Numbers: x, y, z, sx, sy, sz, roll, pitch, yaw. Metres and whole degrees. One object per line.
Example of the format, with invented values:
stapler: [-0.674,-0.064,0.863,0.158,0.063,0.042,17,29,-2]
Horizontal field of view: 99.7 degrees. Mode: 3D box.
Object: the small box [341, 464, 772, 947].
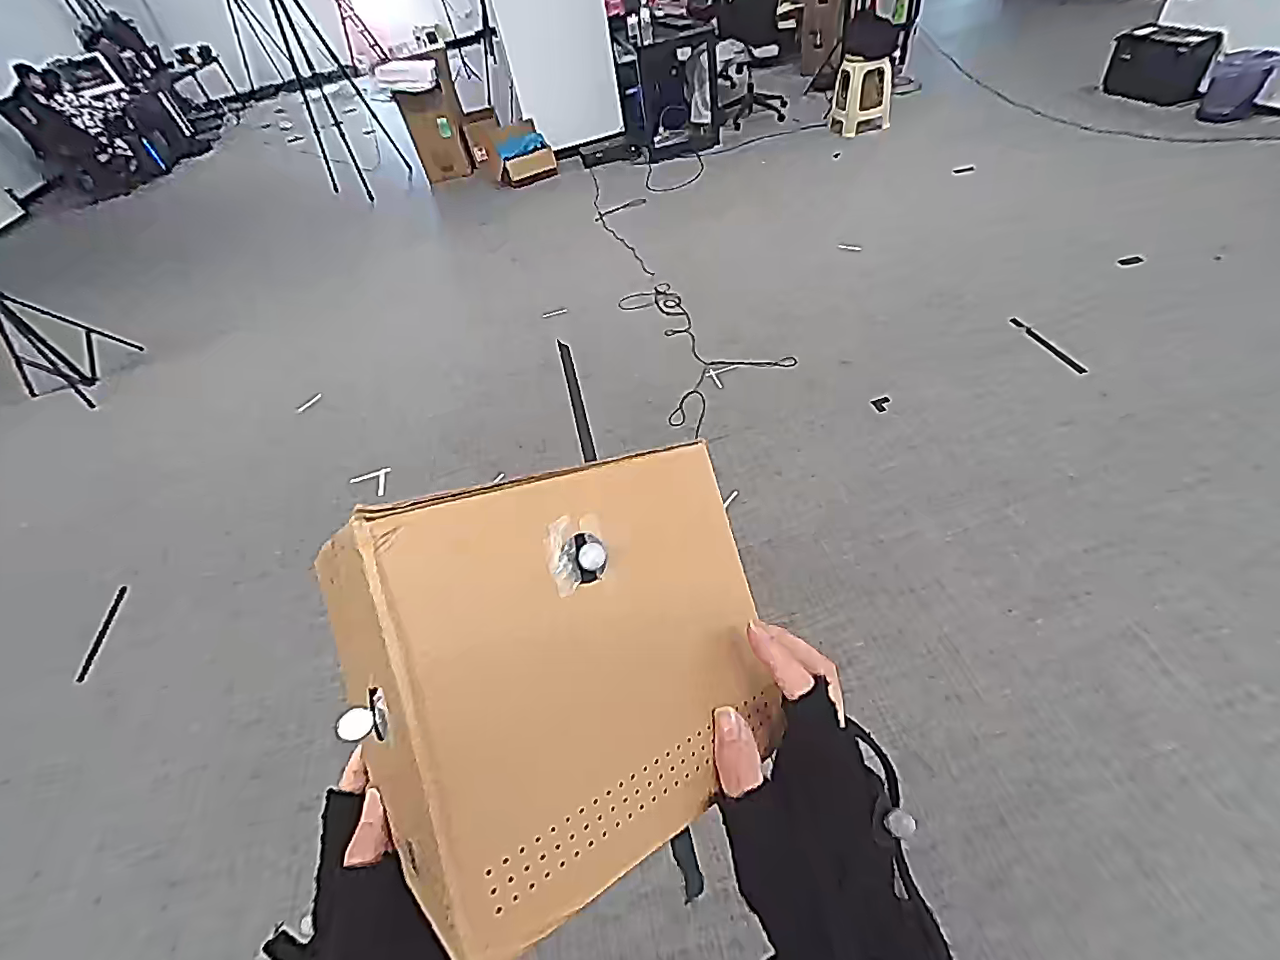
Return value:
small box: [-0.052,0.104,0.314,0.179,0.176,0.168,-13,-5,-36]
